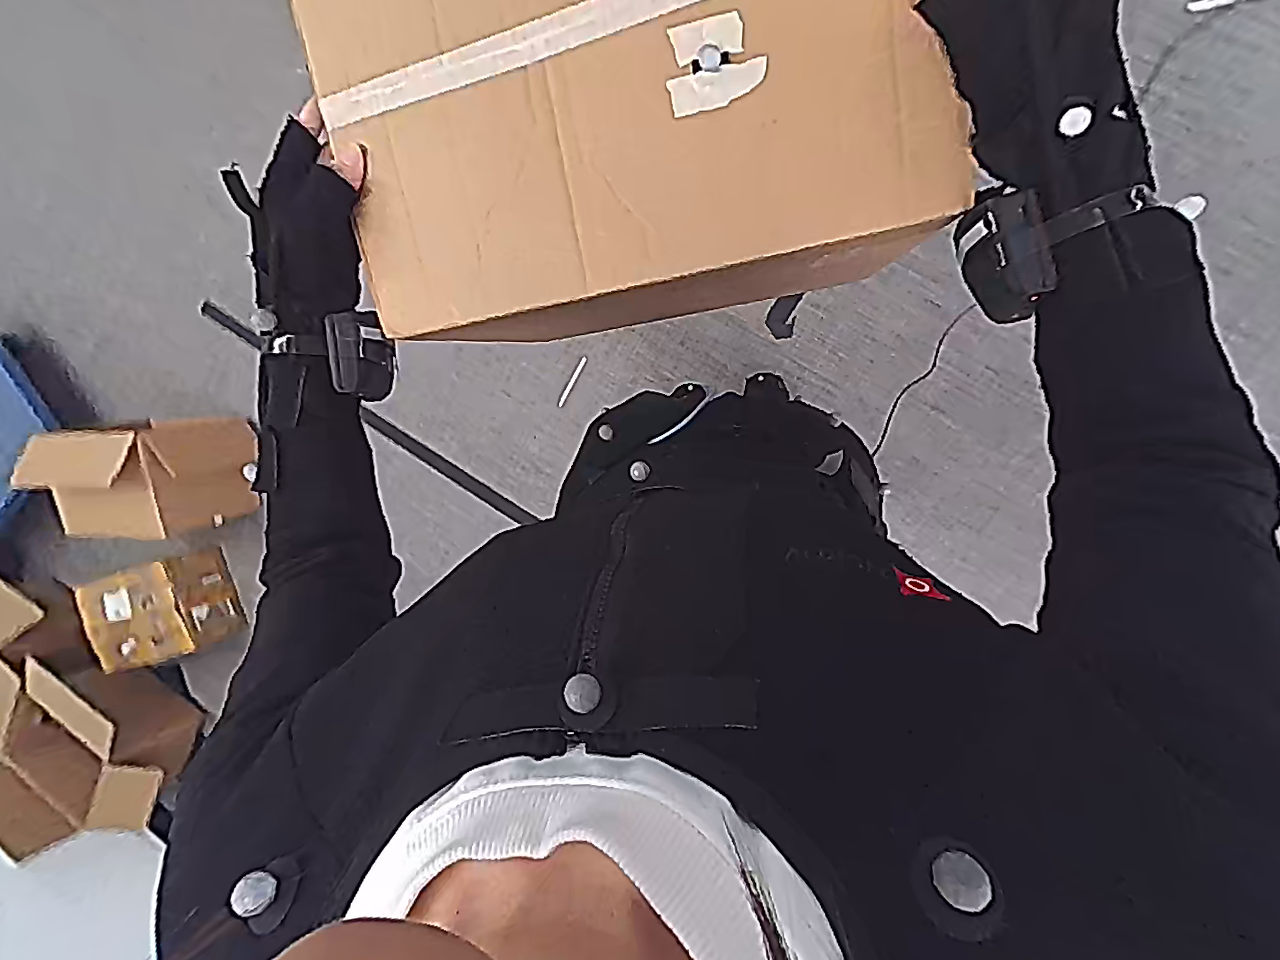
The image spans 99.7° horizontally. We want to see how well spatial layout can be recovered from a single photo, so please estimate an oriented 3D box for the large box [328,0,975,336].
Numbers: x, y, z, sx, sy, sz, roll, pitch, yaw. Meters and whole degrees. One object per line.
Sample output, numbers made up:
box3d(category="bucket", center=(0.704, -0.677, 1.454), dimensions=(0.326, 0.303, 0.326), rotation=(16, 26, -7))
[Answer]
box3d(category="large box", center=(0.014, -0.326, 0.486), dimensions=(0.408, 0.320, 0.320), rotation=(-7, 102, 13))
